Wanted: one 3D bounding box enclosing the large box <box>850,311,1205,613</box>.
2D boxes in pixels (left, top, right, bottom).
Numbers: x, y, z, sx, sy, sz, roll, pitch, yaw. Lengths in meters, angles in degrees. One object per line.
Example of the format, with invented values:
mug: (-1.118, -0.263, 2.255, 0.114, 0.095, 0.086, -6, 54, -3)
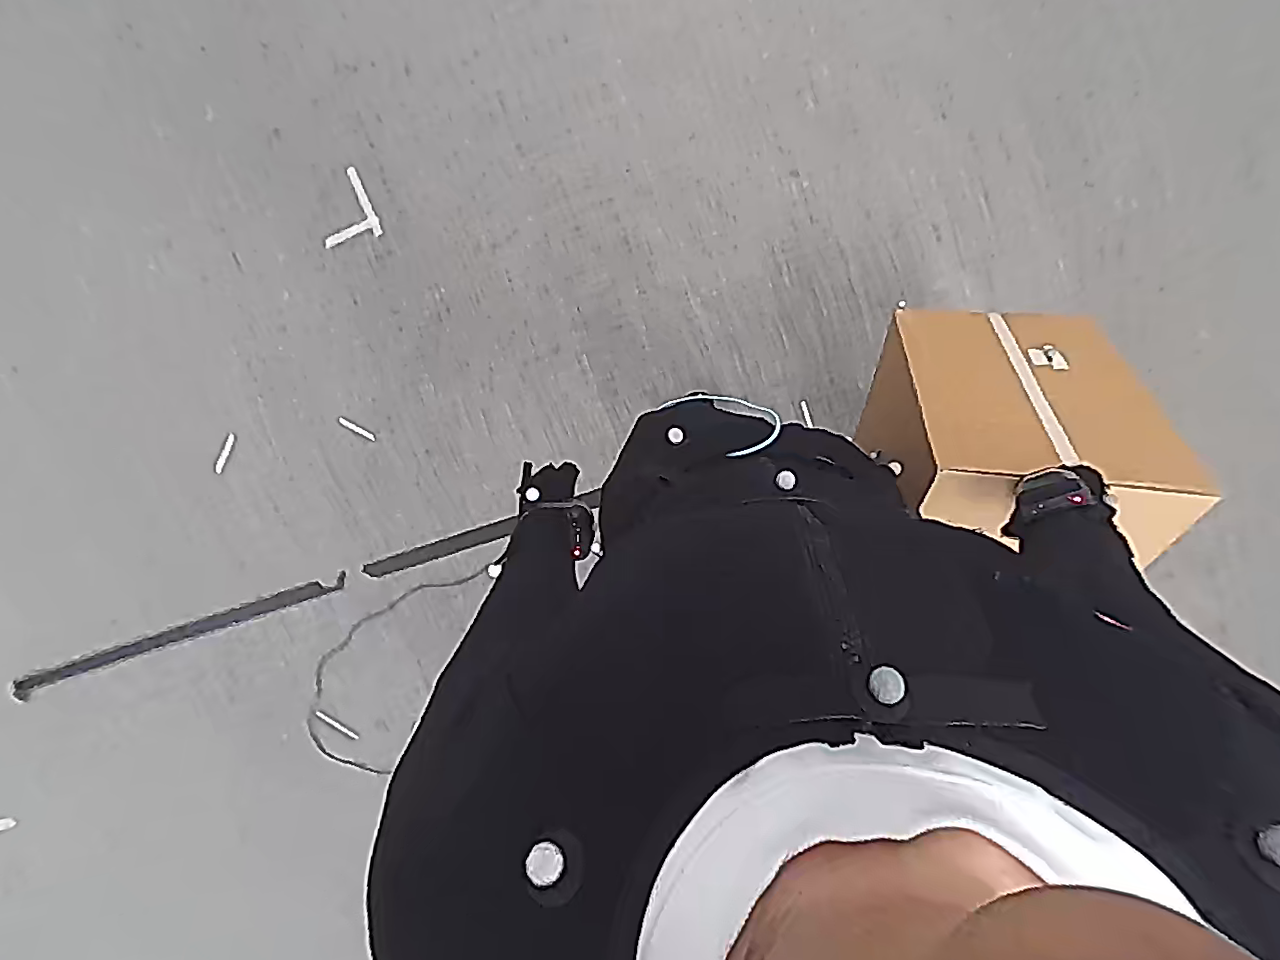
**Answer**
large box: (0.561, -0.039, 0.903, 0.320, 0.408, 0.320, 6, 136, 7)
